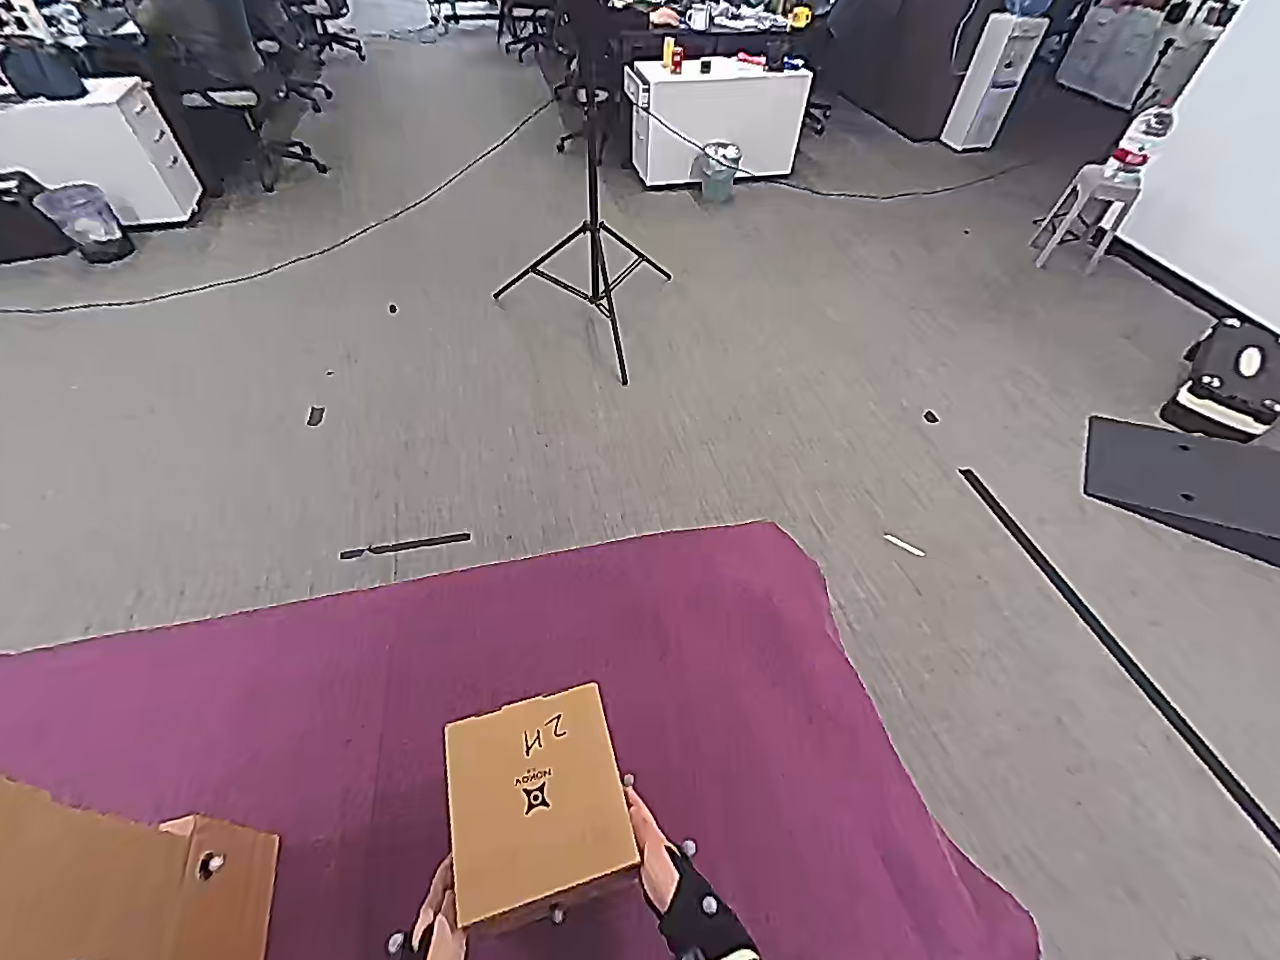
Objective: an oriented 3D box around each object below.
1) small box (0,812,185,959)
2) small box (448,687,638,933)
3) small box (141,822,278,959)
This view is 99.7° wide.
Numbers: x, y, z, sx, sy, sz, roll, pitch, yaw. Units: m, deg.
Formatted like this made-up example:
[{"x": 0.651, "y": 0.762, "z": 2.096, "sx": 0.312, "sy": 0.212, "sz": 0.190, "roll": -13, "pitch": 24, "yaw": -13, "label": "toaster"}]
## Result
[{"x": -0.462, "y": 0.363, "z": 0.372, "sx": 0.168, "sy": 0.176, "sz": 0.179, "roll": -15, "pitch": 52, "yaw": -14, "label": "small box"}, {"x": -0.102, "y": 0.361, "z": 0.592, "sx": 0.168, "sy": 0.176, "sz": 0.179, "roll": -12, "pitch": 49, "yaw": -12, "label": "small box"}, {"x": -0.476, "y": 0.453, "z": 0.509, "sx": 0.168, "sy": 0.176, "sz": 0.179, "roll": -11, "pitch": 51, "yaw": -11, "label": "small box"}]
